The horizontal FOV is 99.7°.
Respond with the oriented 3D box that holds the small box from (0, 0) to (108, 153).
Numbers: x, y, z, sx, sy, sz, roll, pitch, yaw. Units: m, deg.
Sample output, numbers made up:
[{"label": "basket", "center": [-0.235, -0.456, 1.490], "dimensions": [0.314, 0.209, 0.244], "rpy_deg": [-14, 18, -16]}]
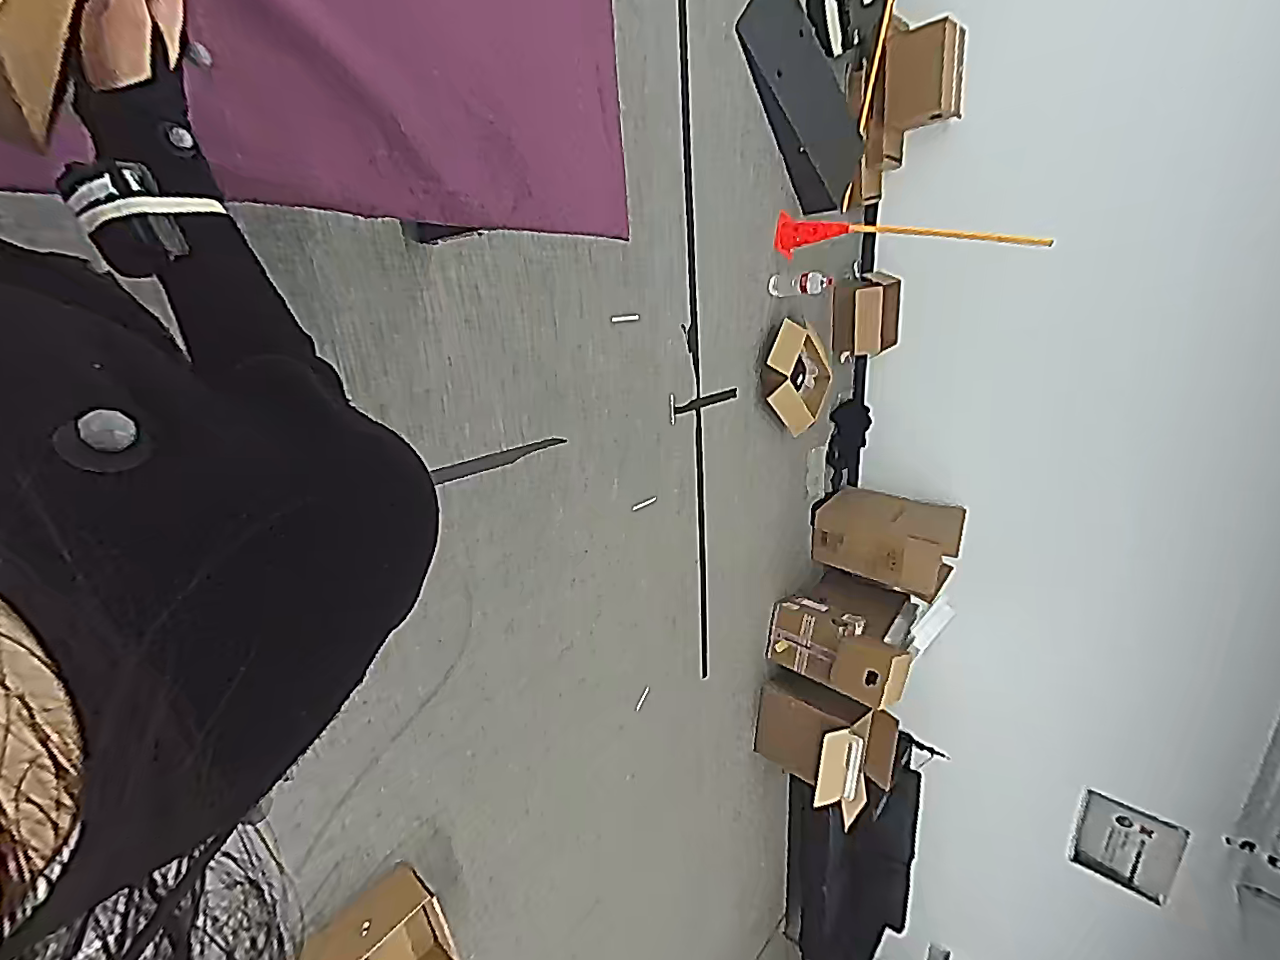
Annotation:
[{"label": "small box", "center": [-0.374, -0.303, 0.251], "dimensions": [0.168, 0.176, 0.179], "rpy_deg": [16, 85, -42]}]
